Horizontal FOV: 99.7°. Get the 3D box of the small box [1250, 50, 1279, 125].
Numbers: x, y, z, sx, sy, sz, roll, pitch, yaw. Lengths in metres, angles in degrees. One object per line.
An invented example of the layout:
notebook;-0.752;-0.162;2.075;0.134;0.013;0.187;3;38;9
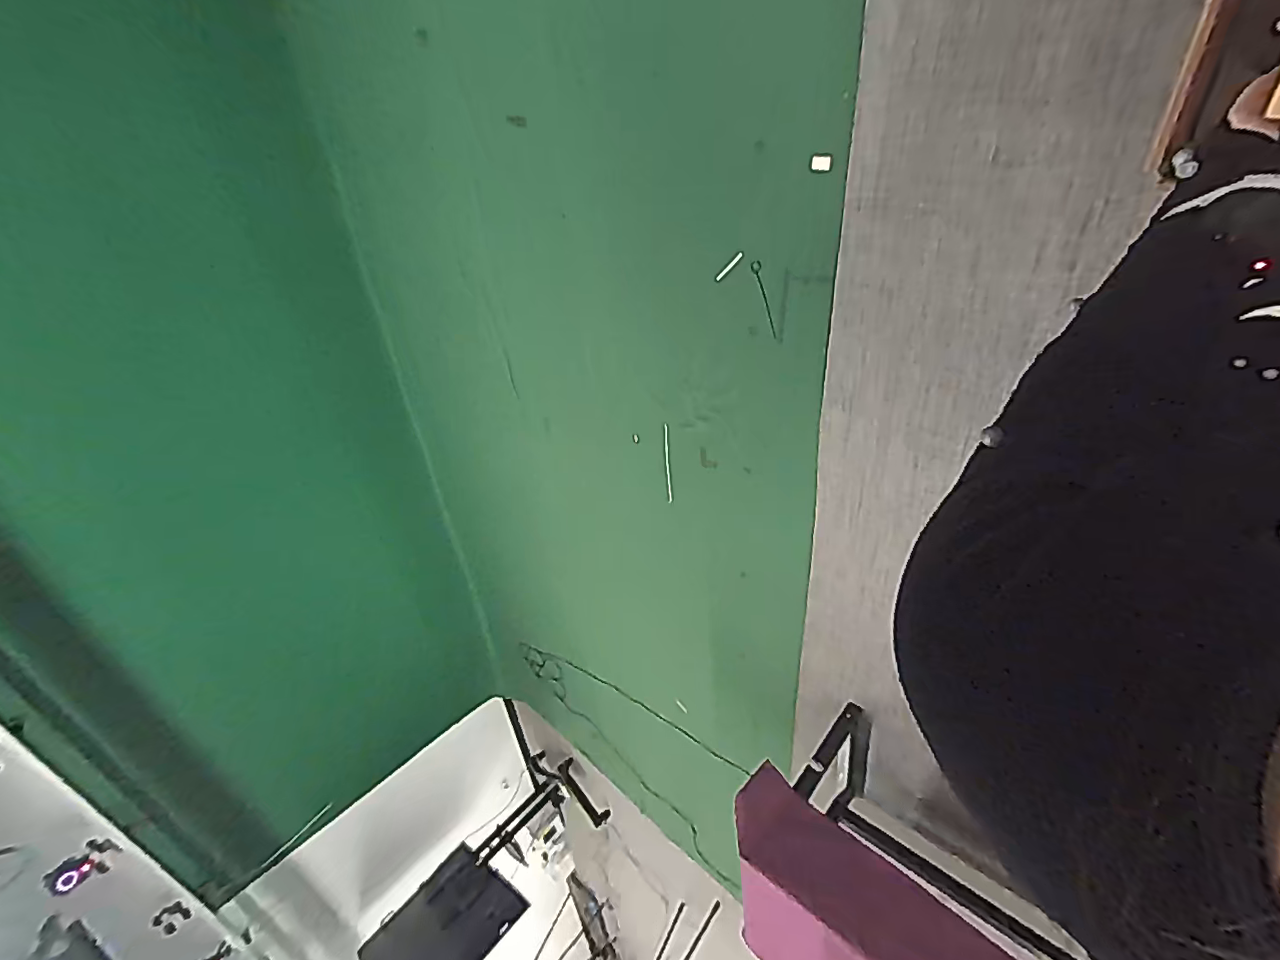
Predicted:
small box;0.546;-0.325;0.338;0.179;0.176;0.168;24;134;35
